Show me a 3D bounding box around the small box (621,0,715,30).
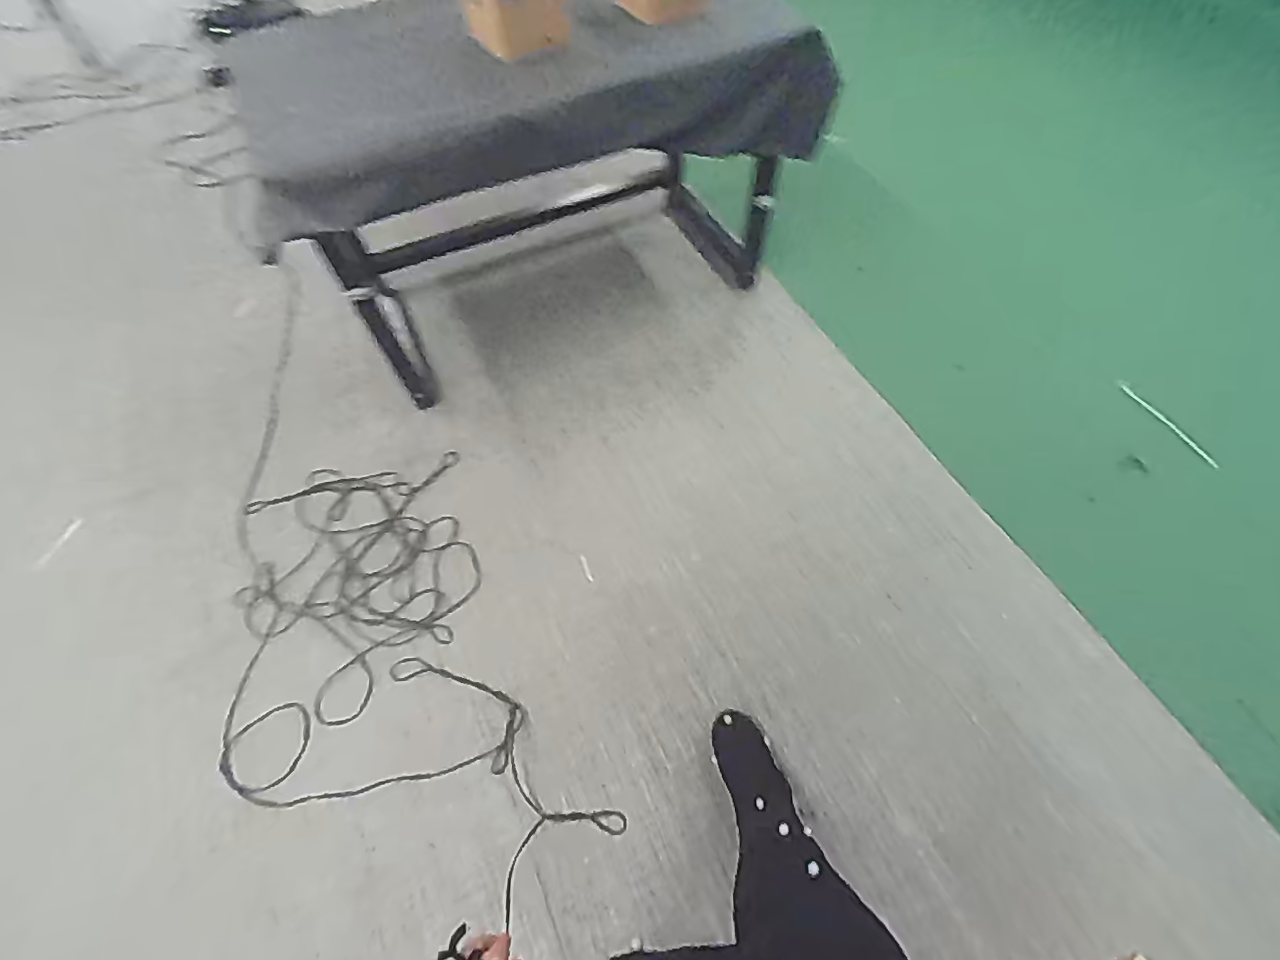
[{"bbox_3d":[0.064,-1.149,1.214,0.168,0.176,0.179,-29,62,-16],"label":"small box"}]
